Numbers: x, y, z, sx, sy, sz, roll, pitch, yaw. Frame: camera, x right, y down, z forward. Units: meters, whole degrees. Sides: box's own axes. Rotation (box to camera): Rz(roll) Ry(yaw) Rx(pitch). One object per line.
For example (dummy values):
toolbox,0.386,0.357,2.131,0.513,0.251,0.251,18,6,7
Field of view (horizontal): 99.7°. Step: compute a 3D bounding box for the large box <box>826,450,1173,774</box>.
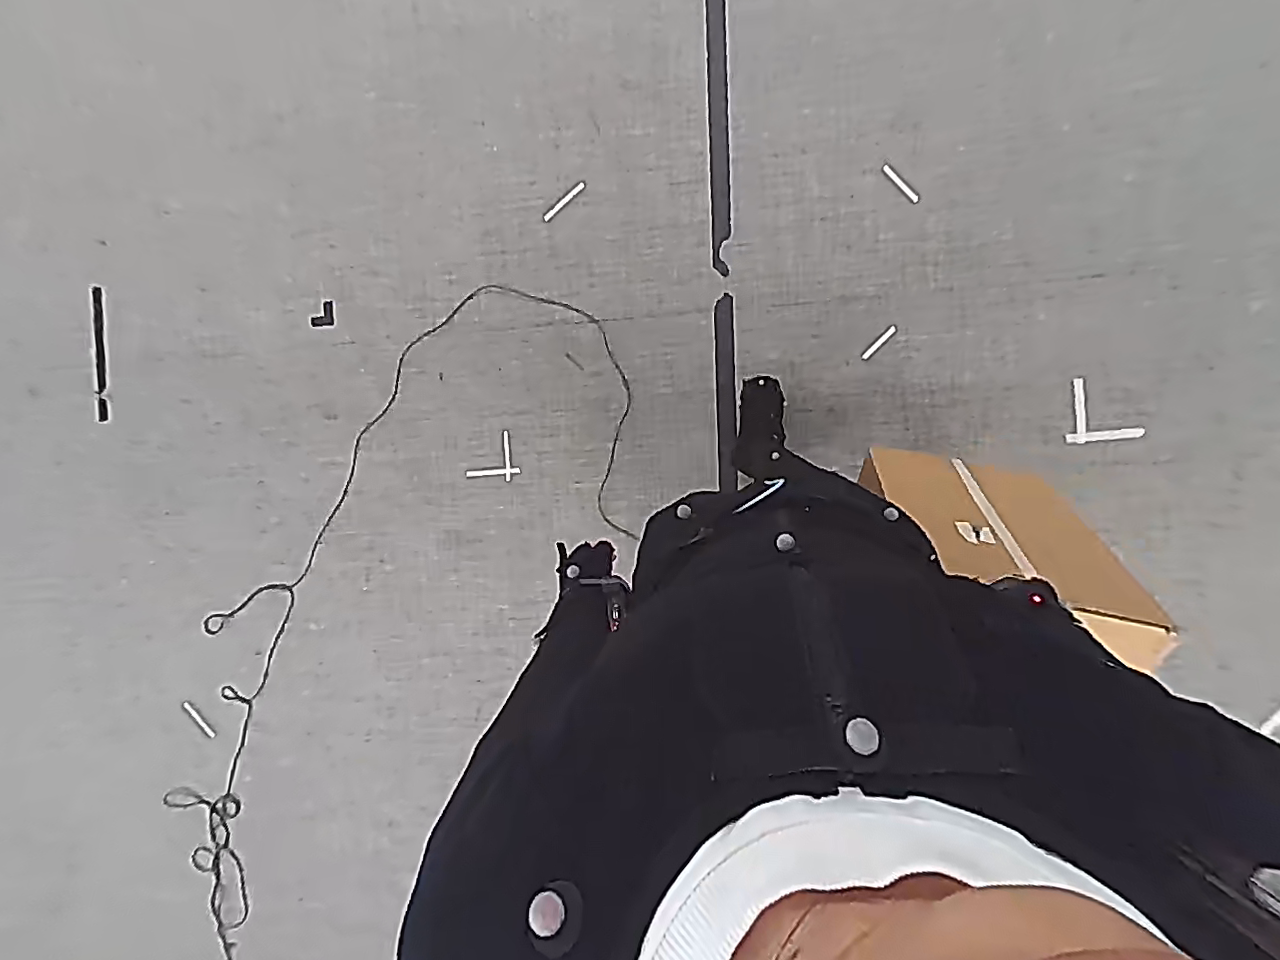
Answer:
large box,0.526,0.194,0.919,0.320,0.408,0.320,10,121,8
